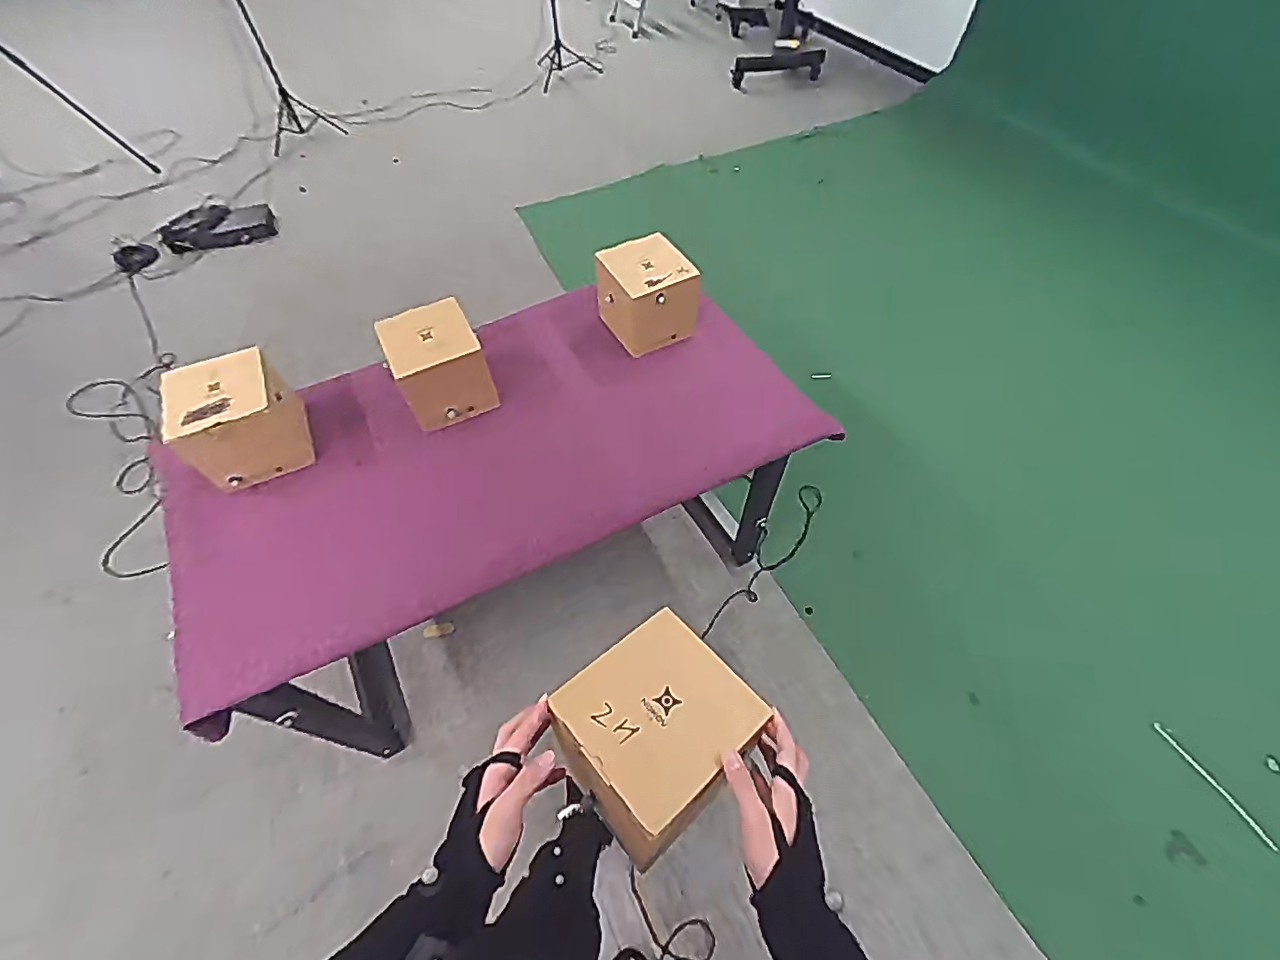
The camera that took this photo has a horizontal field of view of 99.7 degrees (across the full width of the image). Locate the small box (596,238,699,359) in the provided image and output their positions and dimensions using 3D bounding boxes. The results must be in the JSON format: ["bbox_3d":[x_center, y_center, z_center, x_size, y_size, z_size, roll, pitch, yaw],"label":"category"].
[{"bbox_3d":[0.014,-0.406,1.216,0.168,0.176,0.179,-26,59,-15],"label":"small box"}]

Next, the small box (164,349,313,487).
[{"bbox_3d":[-0.746,-0.109,1.018,0.168,0.176,0.179,-22,59,-15],"label":"small box"}]

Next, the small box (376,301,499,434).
[{"bbox_3d":[-0.407,-0.226,1.100,0.168,0.176,0.179,-24,60,-14],"label":"small box"}]
